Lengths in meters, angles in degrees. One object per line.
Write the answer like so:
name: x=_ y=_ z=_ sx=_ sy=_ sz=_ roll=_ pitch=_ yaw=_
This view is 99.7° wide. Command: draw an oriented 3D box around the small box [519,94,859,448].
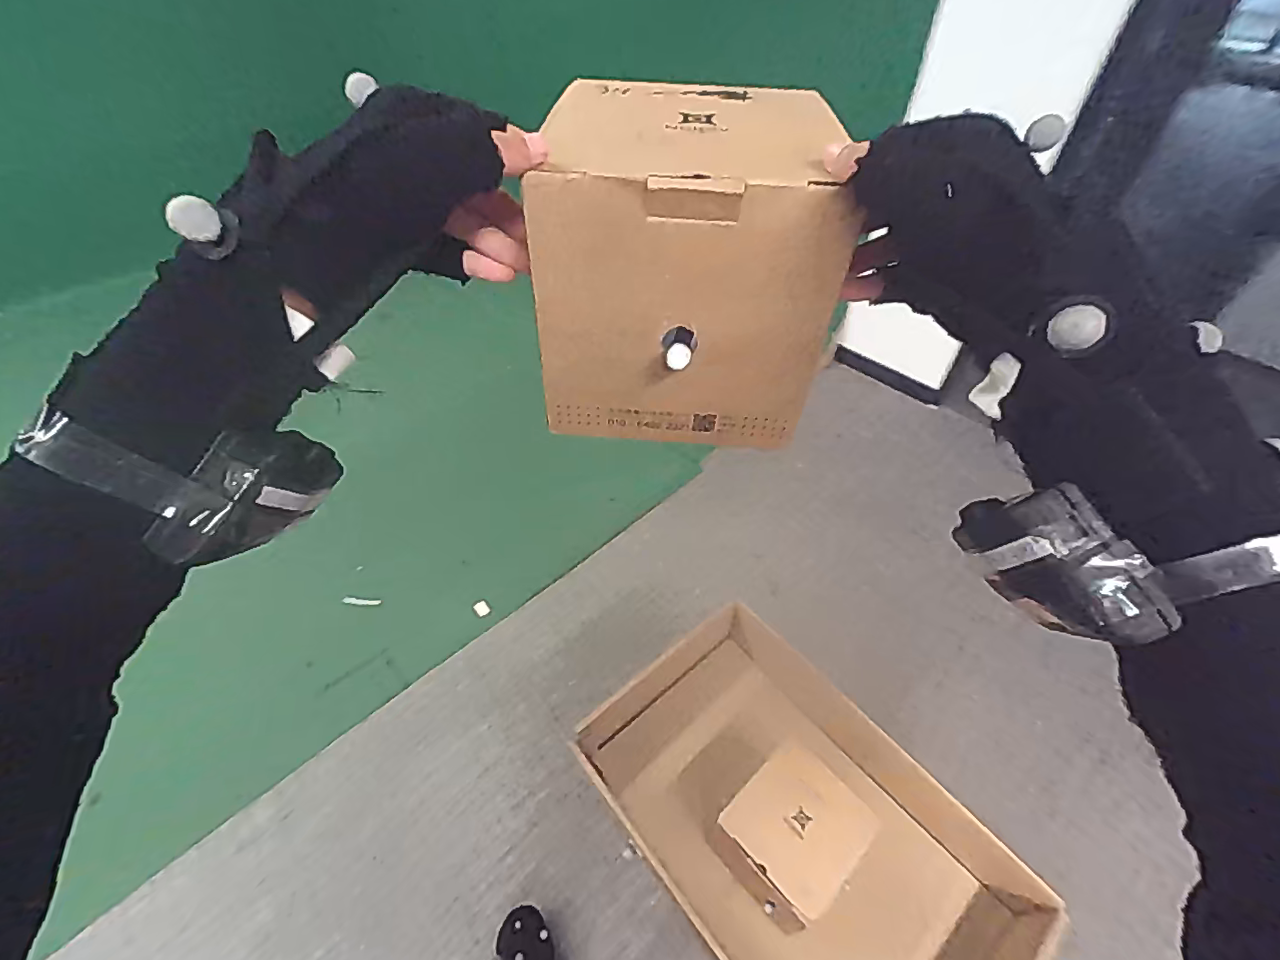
small box: x=0.027 y=-0.139 z=0.369 sx=0.168 sy=0.176 sz=0.179 roll=3 pitch=48 yaw=1

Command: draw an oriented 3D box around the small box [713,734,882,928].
small box: x=0.227 y=0.536 z=0.824 sx=0.179 sy=0.176 sz=0.168 roll=-33 pitch=57 yaw=-28
